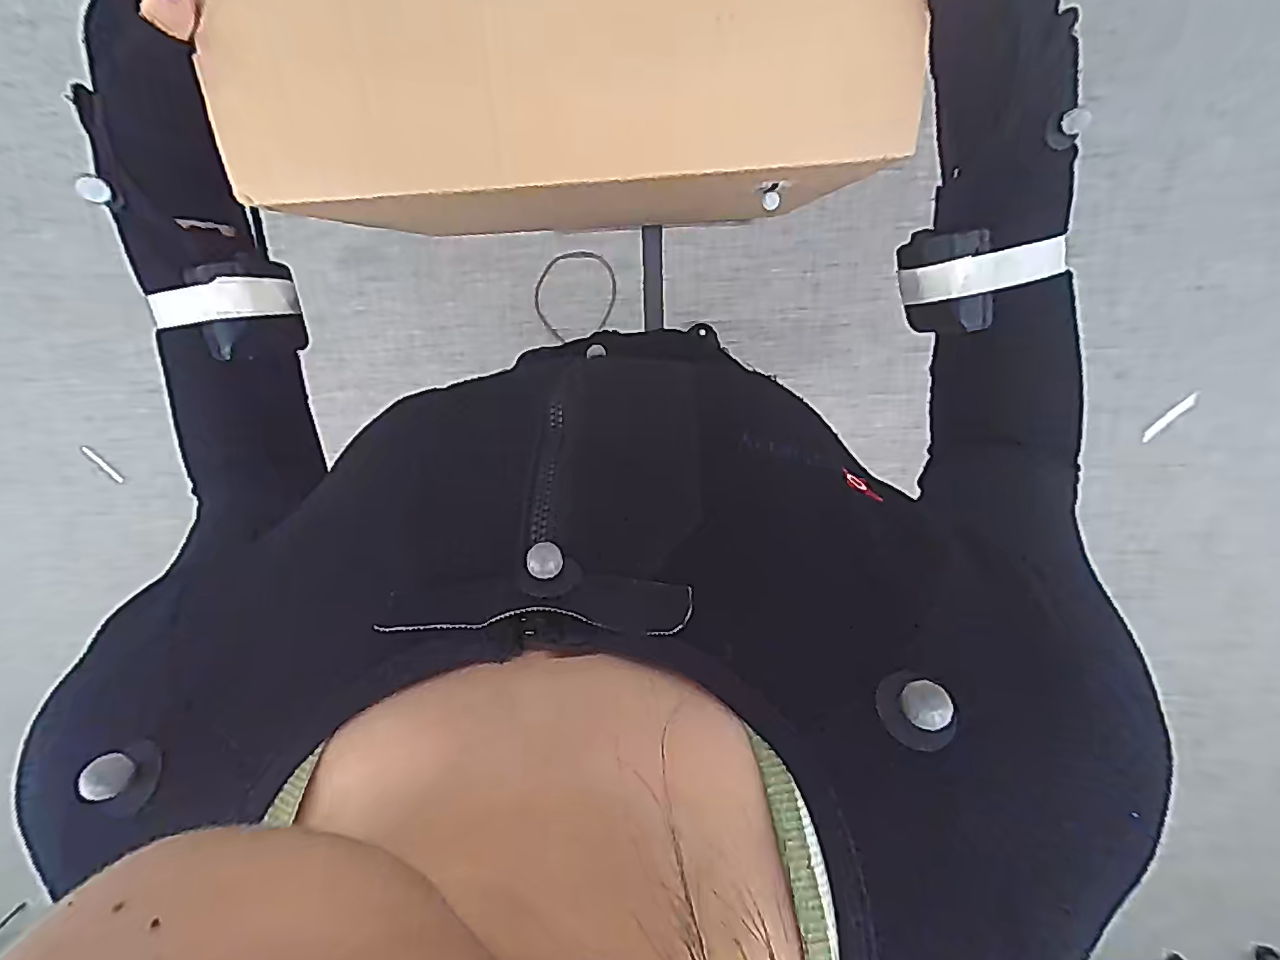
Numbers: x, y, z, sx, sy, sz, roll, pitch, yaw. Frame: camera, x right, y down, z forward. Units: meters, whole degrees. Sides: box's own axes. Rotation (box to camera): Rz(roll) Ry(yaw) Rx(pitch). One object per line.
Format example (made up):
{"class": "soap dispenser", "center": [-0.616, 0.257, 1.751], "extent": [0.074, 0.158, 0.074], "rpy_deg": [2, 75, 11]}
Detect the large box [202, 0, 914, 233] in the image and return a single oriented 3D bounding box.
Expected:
{"class": "large box", "center": [-0.047, -0.380, 0.419], "extent": [0.408, 0.320, 0.320], "rpy_deg": [-3, 110, 2]}
